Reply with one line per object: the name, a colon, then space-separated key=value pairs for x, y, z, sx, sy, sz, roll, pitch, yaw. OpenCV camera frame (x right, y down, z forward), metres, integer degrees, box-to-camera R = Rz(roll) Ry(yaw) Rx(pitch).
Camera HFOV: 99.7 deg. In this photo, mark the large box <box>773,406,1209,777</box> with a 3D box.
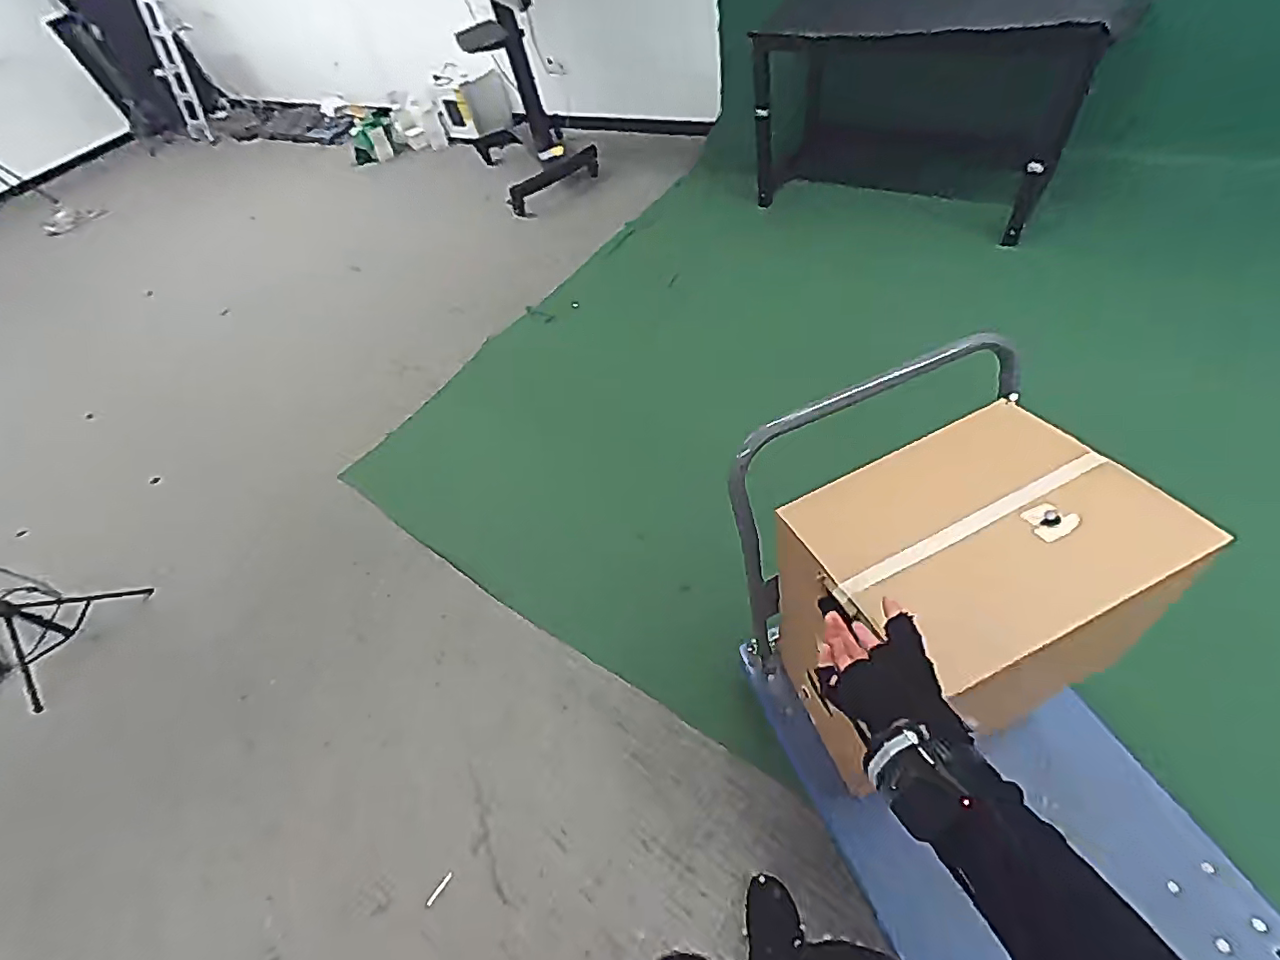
large box: x=0.454 y=0.160 z=0.804 sx=0.408 sy=0.320 sz=0.320 roll=-24 pitch=46 yaw=-7
